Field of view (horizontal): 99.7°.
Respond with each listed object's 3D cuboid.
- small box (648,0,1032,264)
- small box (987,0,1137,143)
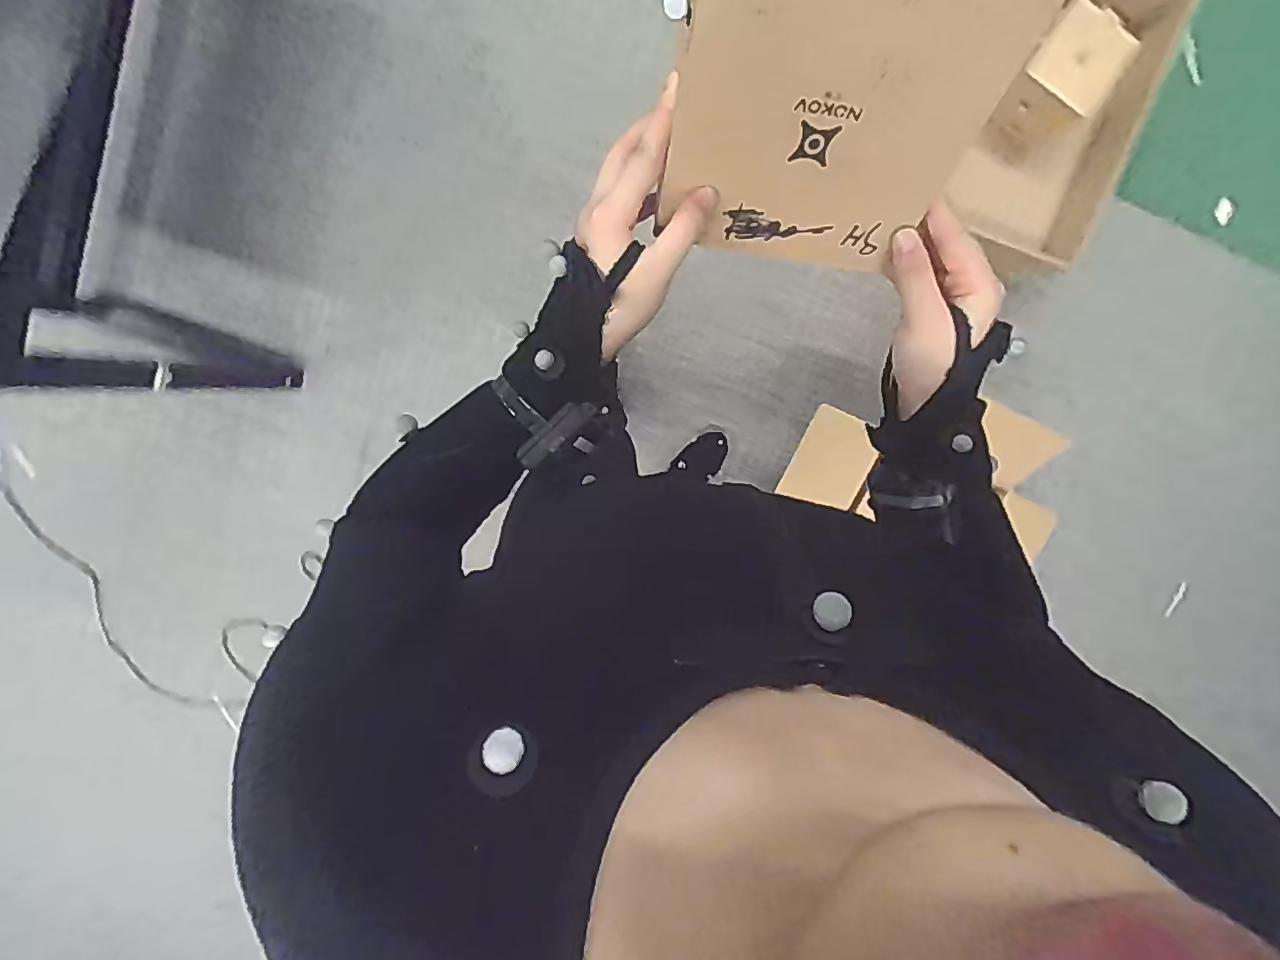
[{"bbox_3d":[0.099,-0.273,0.342,0.168,0.179,0.176,6,63,-4],"label":"small box"},{"bbox_3d":[0.926,-0.906,1.213,0.168,0.176,0.179,32,99,-6],"label":"small box"}]
